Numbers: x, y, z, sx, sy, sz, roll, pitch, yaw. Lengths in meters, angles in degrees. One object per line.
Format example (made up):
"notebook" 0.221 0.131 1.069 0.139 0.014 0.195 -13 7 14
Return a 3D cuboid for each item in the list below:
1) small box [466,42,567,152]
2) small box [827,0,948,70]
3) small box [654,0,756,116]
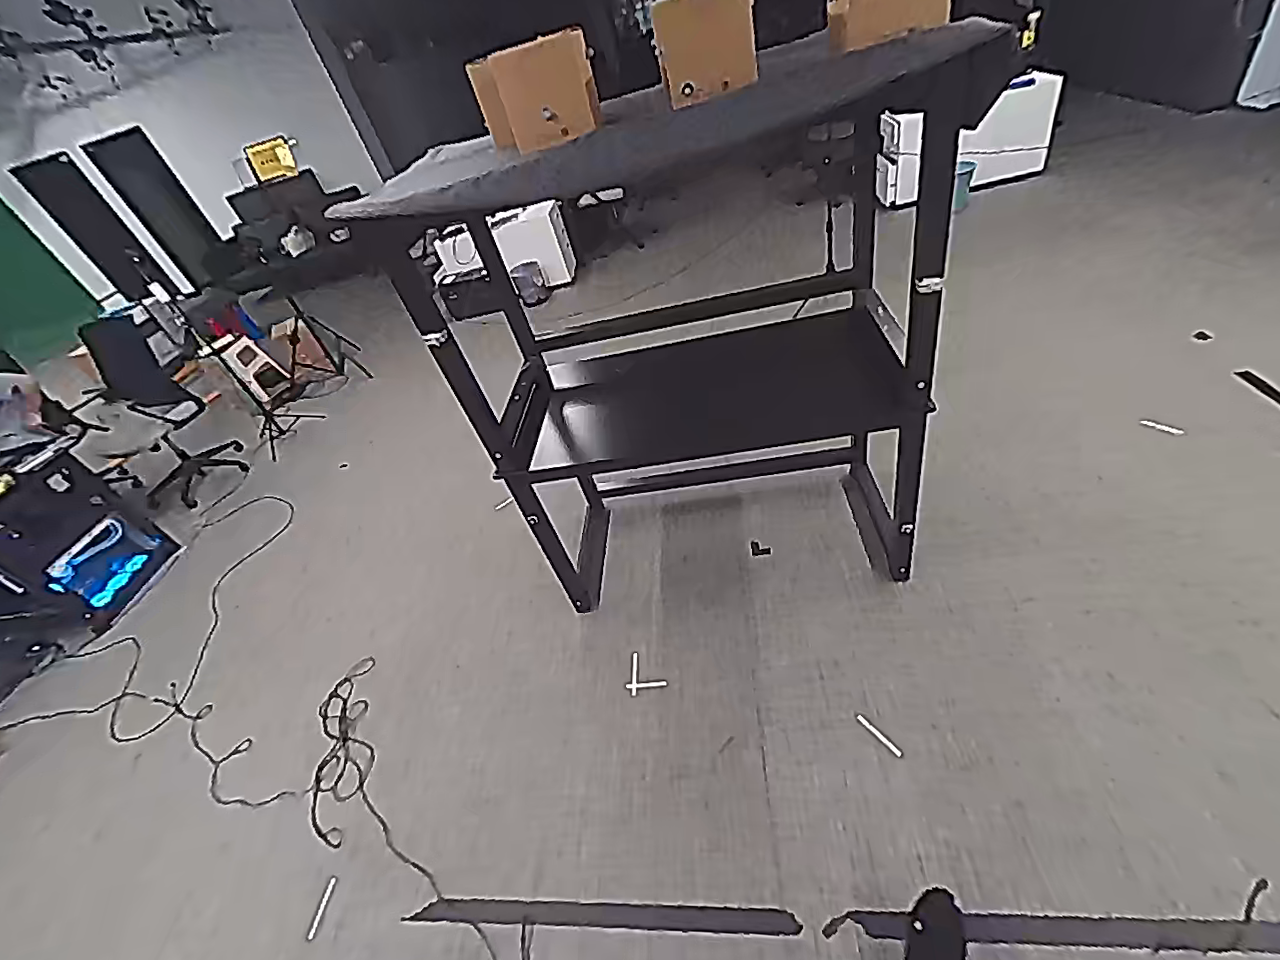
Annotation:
"small box" -0.282 -0.909 1.286 0.179 0.176 0.168 -10 41 8
"small box" 0.432 -0.855 0.961 0.168 0.176 0.179 -9 40 11
"small box" 0.126 -0.830 1.048 0.168 0.176 0.179 -10 40 10
